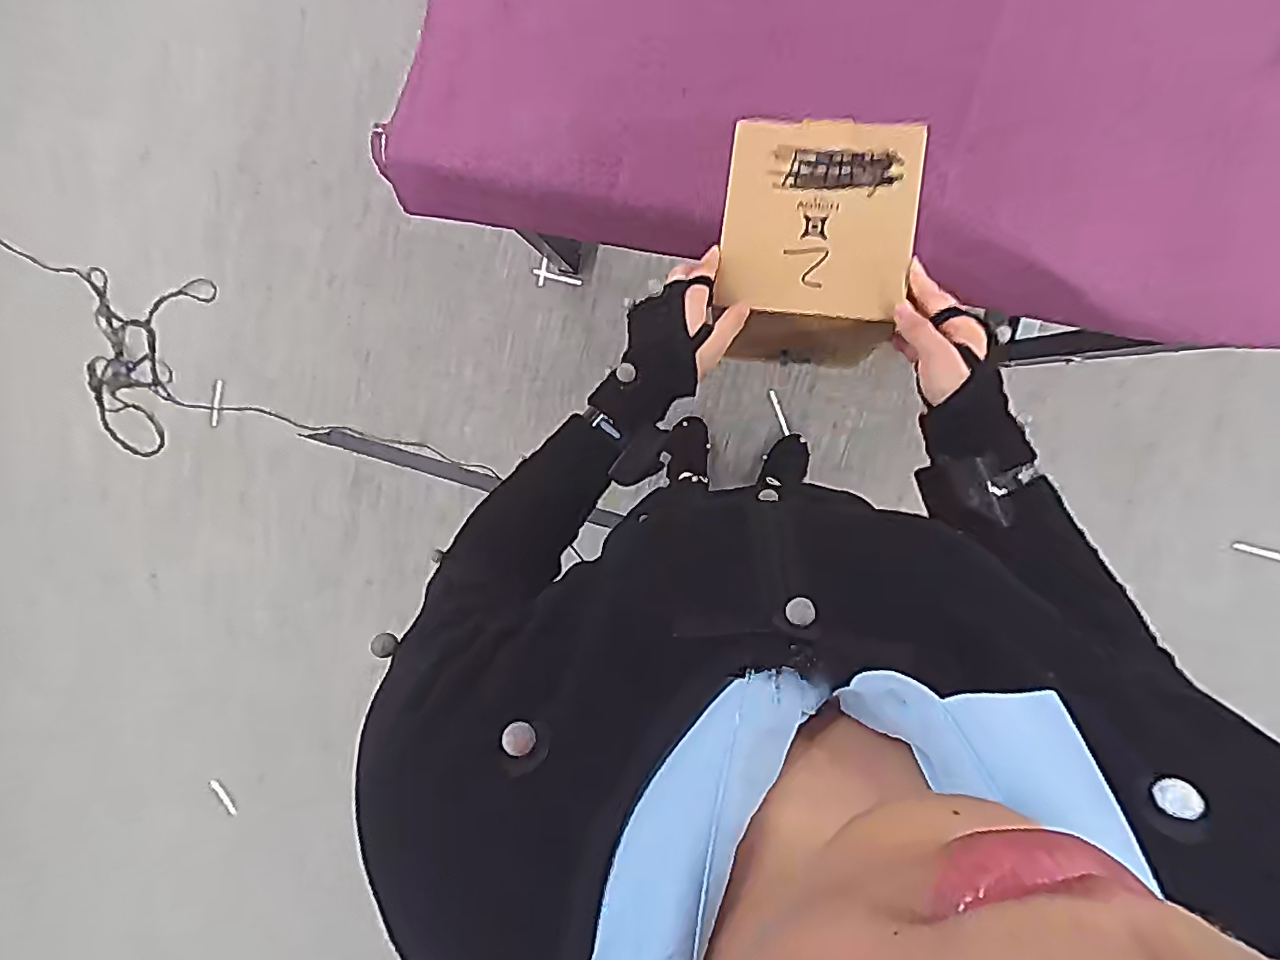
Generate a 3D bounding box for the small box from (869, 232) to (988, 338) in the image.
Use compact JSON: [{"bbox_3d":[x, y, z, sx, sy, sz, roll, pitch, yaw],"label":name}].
[{"bbox_3d":[0.674,-0.453,1.291,0.168,0.176,0.179,23,100,2],"label":"small box"}]
